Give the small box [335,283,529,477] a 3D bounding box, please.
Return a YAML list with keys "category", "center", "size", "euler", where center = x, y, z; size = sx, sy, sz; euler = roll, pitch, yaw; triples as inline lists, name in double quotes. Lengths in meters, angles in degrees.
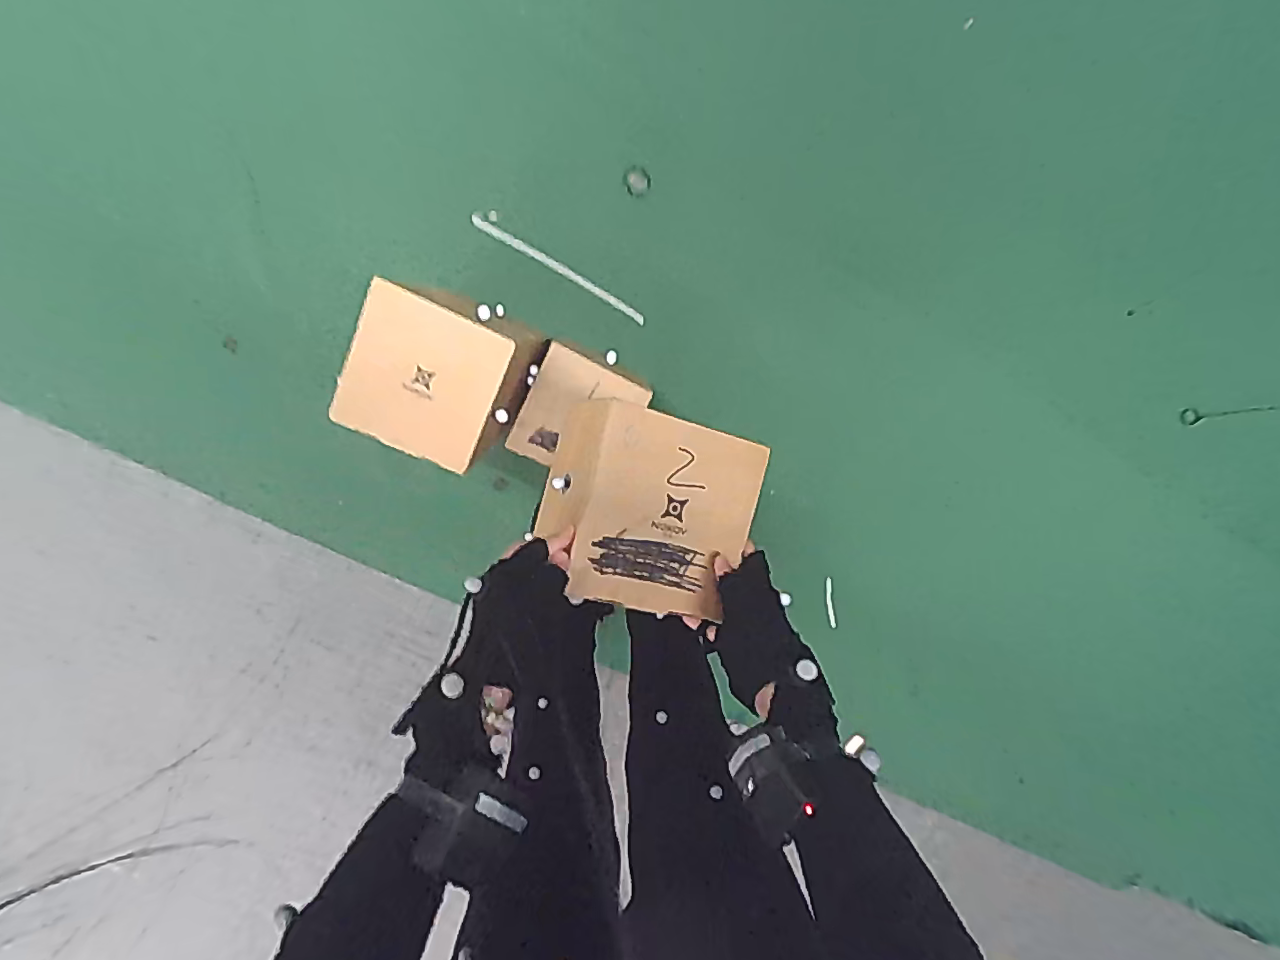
- category: "small box"
  center: [-0.253, -0.133, 0.699]
  size: [0.168, 0.176, 0.179]
  euler: [23, 105, -10]
